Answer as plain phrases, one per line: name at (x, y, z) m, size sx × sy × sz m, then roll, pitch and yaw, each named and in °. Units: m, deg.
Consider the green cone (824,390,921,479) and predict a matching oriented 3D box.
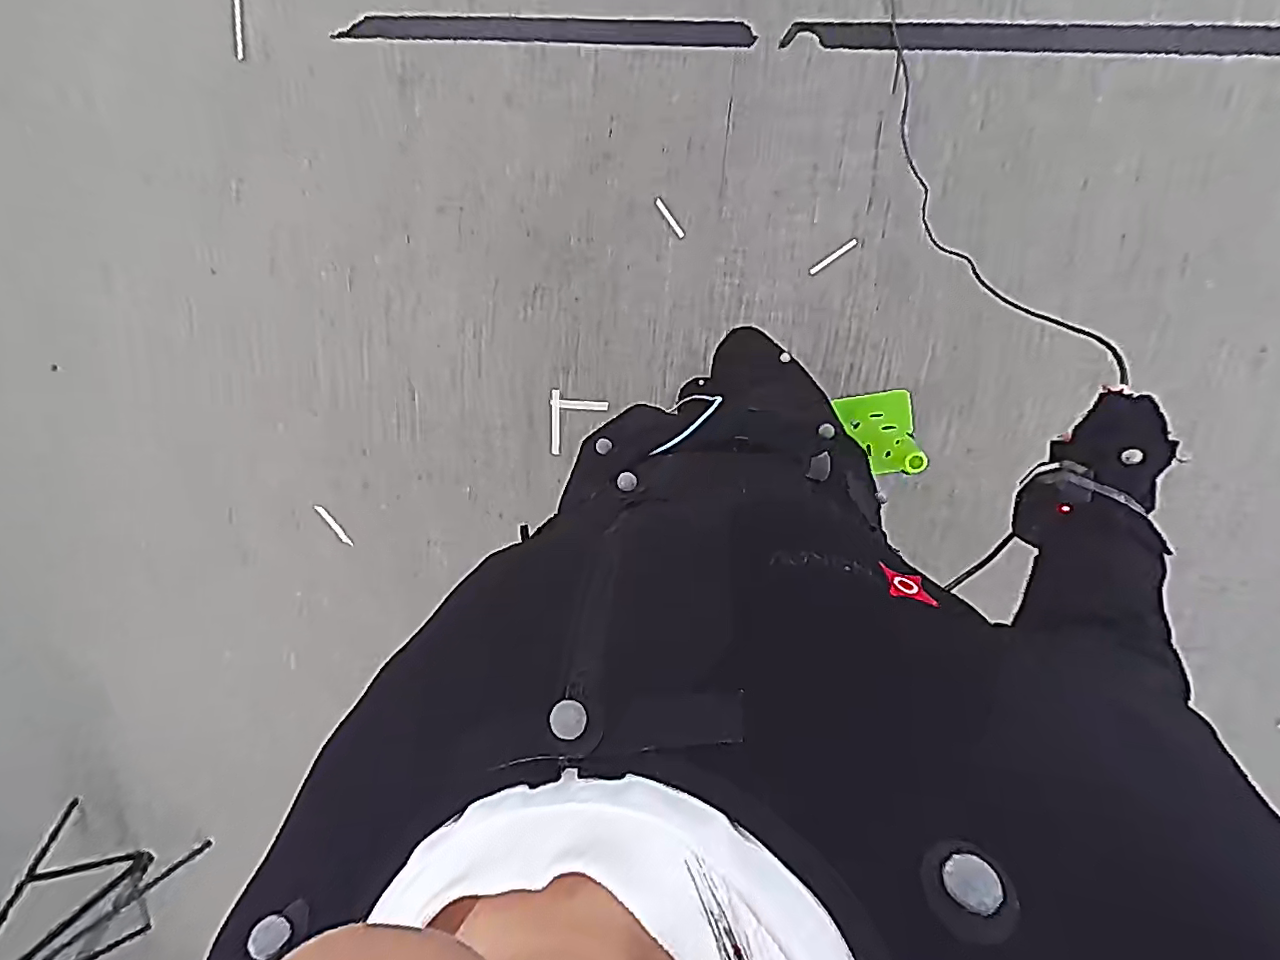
green cone at (0.530, -0.074, 1.154) m, size 0.202 × 0.368 × 0.200 m, roll -9°, pitch 100°, yaw 13°
